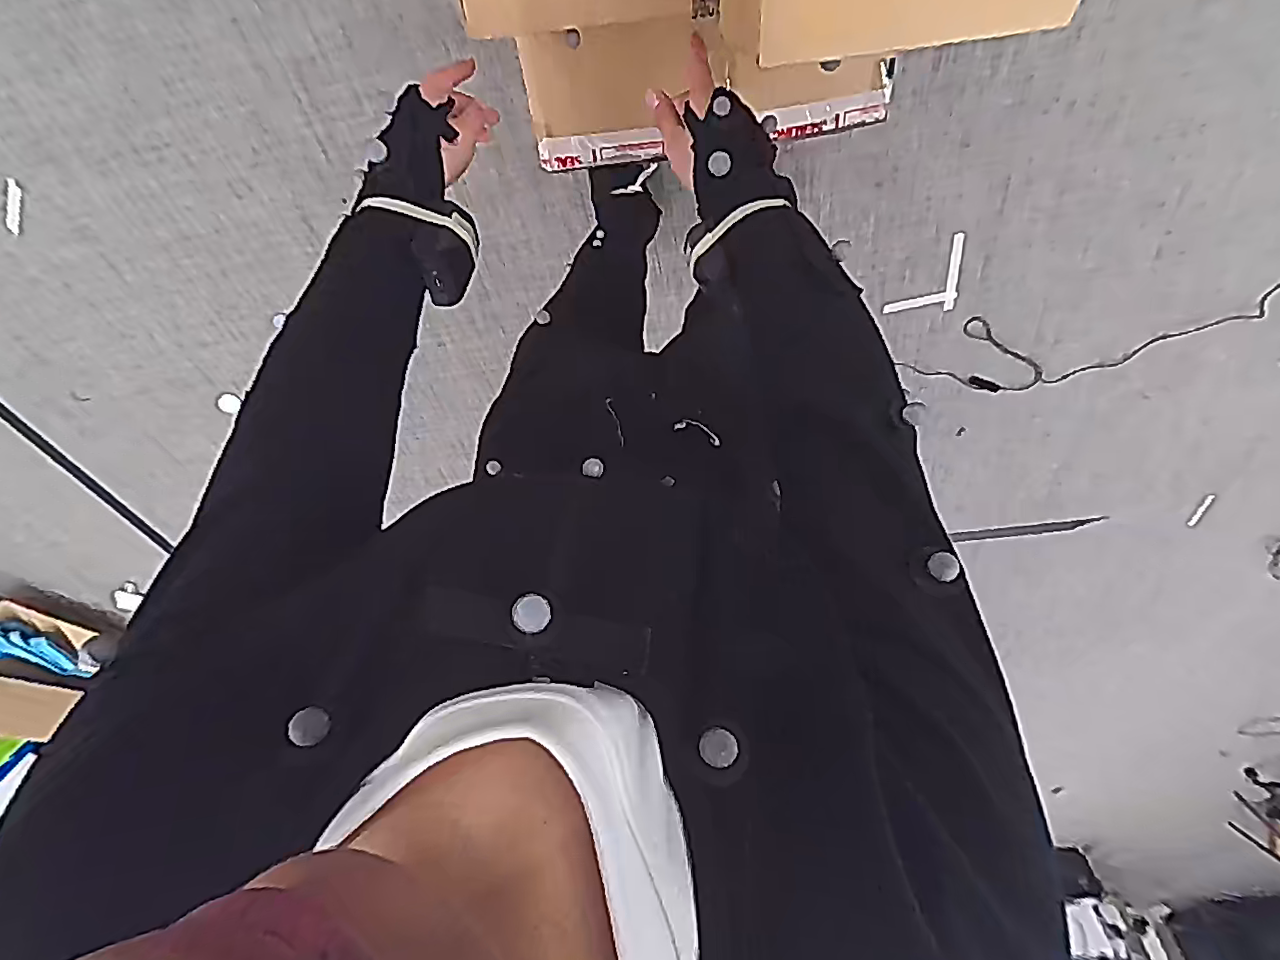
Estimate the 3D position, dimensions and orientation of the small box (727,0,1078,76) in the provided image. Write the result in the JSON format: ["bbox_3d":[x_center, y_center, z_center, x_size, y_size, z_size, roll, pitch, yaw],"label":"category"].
[{"bbox_3d":[0.137,-0.348,0.293,0.168,0.176,0.179,-5,133,4],"label":"small box"}]
